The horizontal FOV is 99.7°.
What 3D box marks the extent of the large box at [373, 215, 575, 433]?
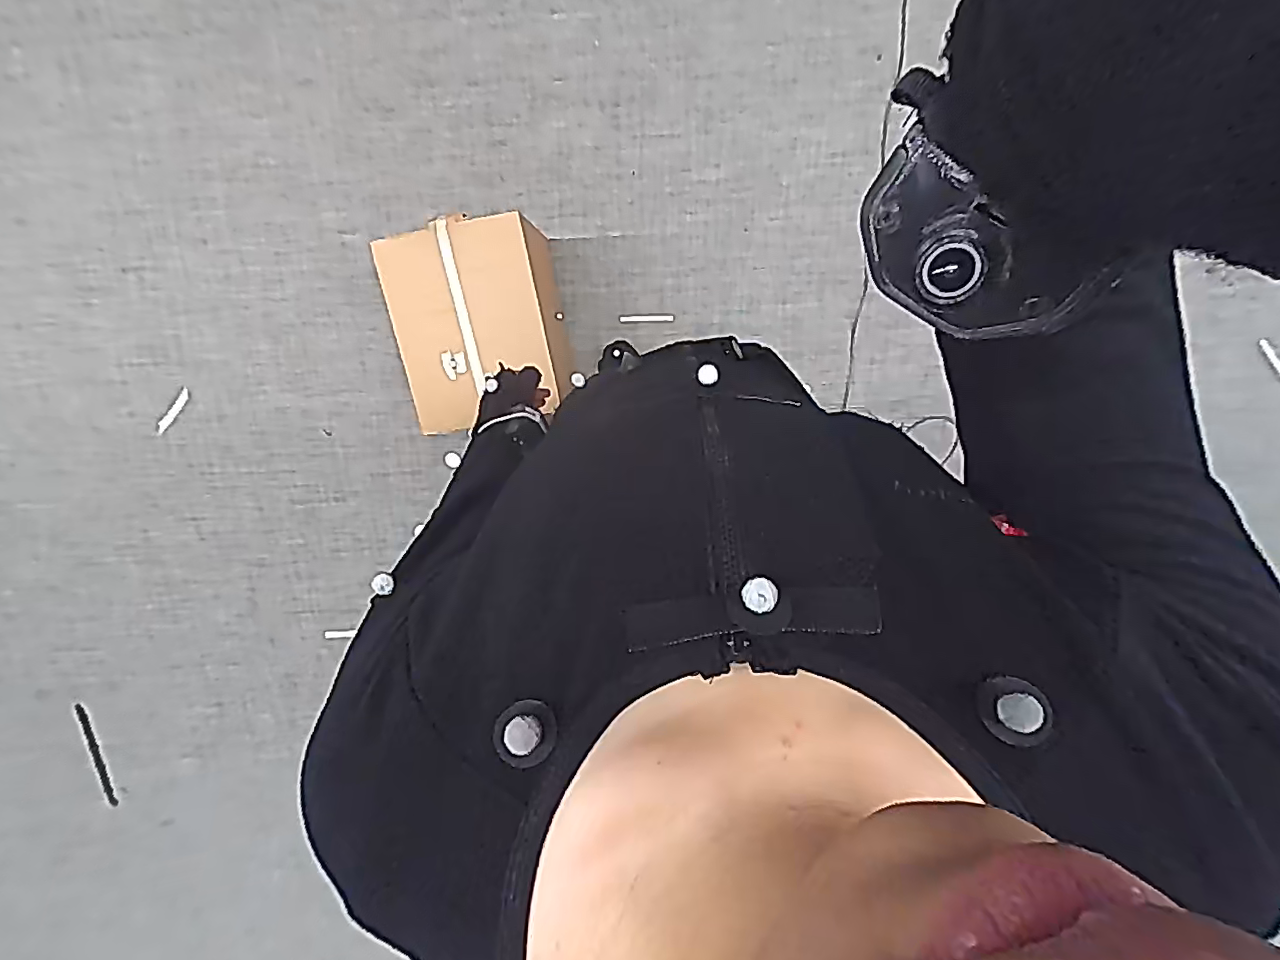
[{"bbox_3d":[-0.361,-0.358,1.288,0.320,0.320,0.408,-10,105,5],"label":"large box"}]
